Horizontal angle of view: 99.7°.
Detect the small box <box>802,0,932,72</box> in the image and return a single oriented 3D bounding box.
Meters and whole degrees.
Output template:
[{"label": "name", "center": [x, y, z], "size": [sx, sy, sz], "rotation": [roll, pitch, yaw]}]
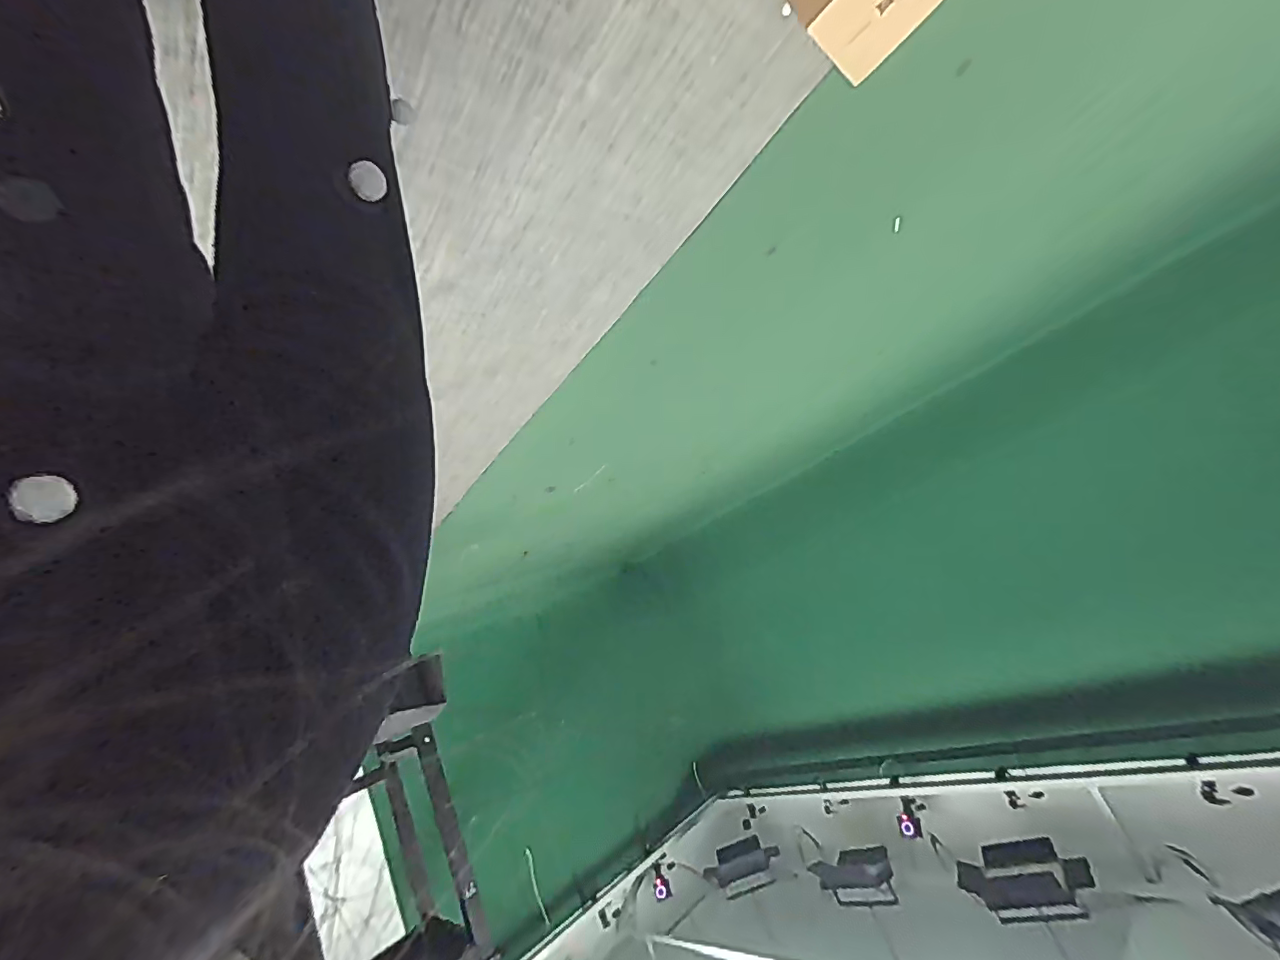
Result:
[{"label": "small box", "center": [0.287, -0.692, 0.688], "size": [0.168, 0.176, 0.179], "rotation": [-8, 160, -47]}]
